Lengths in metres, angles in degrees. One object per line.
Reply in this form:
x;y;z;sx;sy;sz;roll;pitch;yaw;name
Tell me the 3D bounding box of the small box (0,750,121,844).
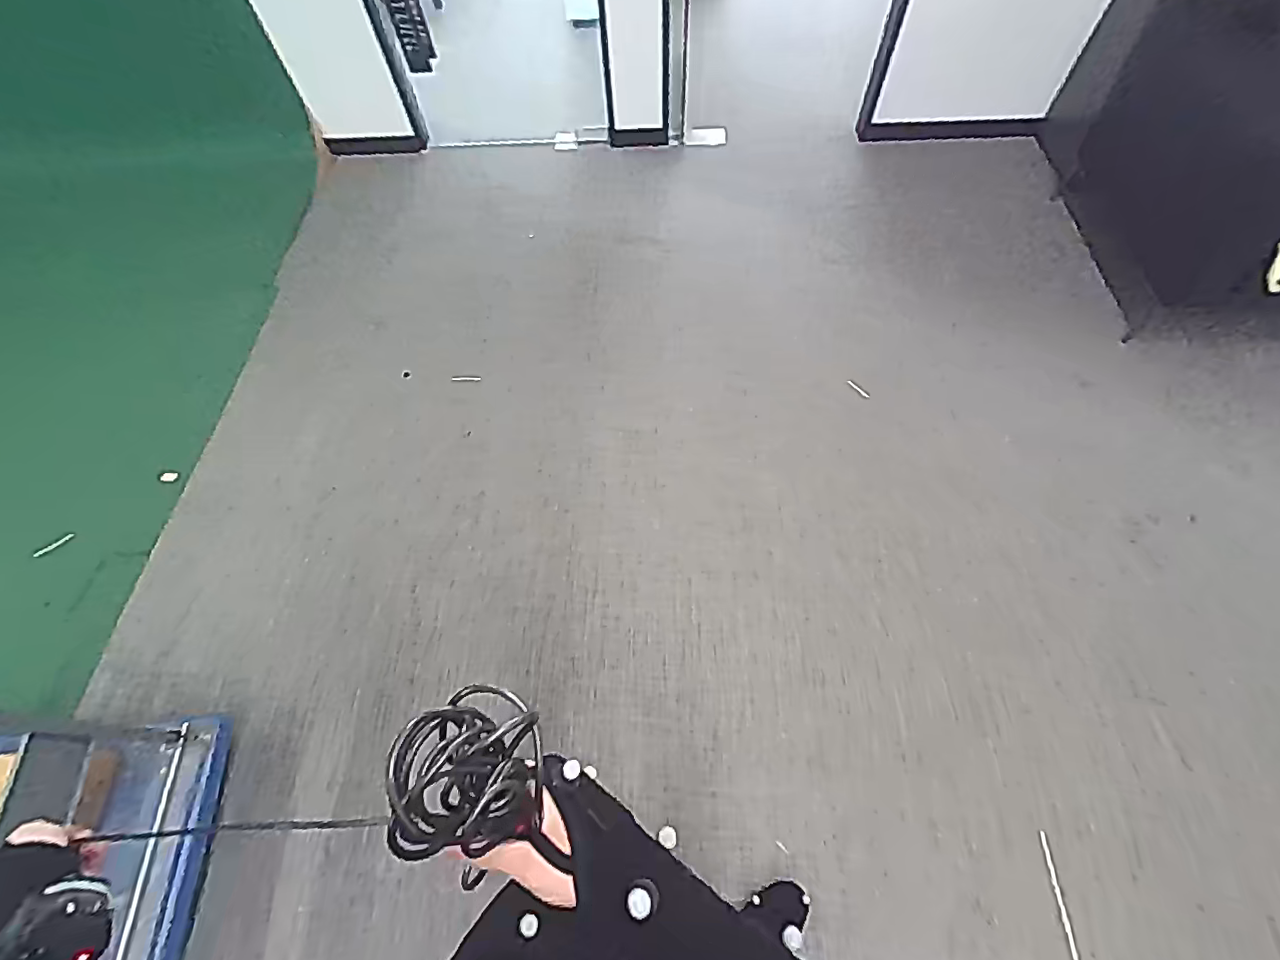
-1.299;0.681;1.162;0.179;0.176;0.168;-4;61;-1;small box
